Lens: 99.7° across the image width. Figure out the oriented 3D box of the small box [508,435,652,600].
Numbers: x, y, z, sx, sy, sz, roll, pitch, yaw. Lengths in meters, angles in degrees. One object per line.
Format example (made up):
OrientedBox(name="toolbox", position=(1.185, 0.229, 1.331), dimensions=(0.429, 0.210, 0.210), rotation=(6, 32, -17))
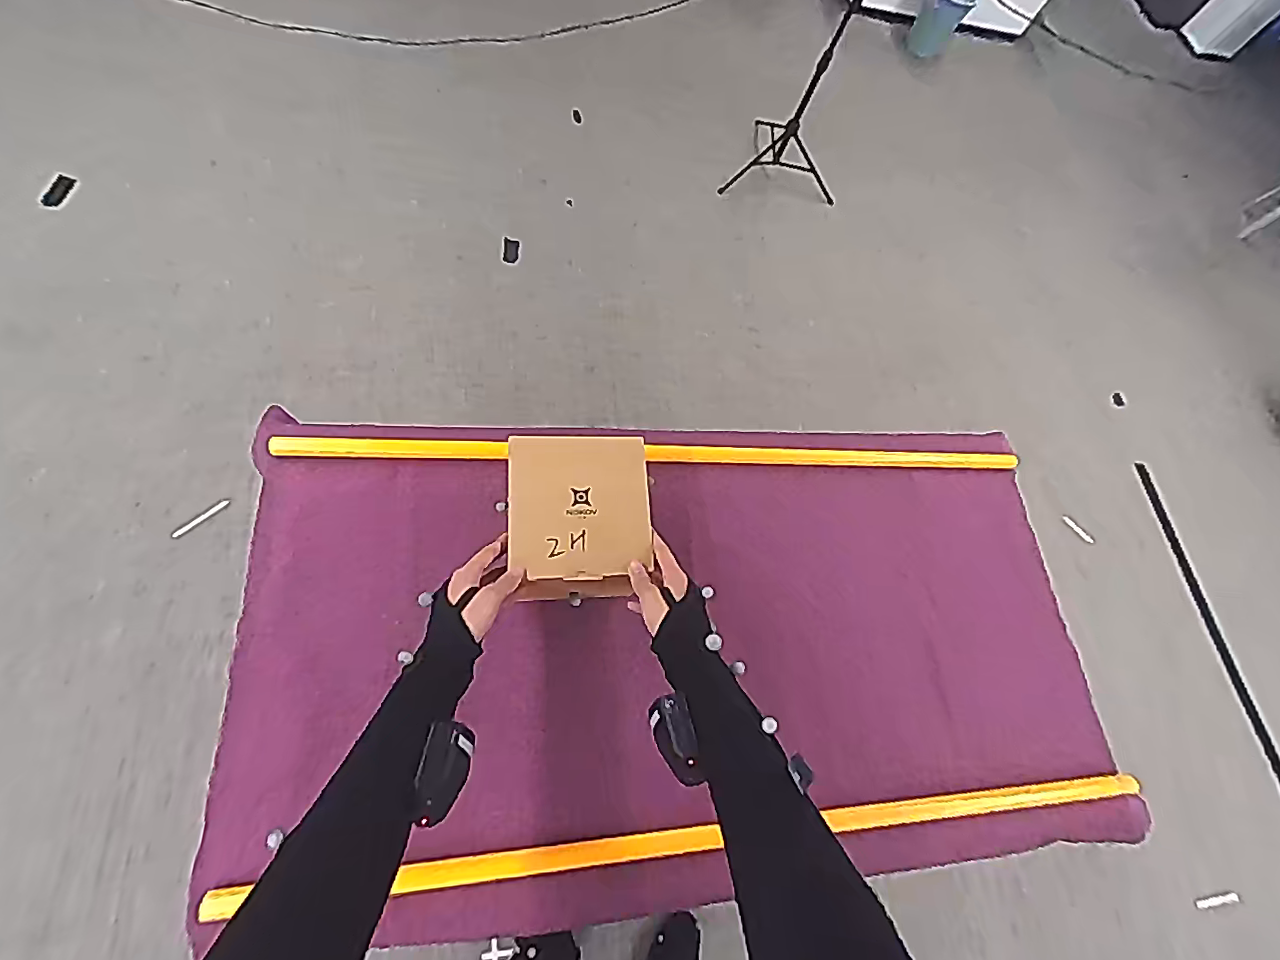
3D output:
OrientedBox(name="small box", position=(-0.085, 0.055, 0.707), dimensions=(0.168, 0.176, 0.179), rotation=(0, 71, -11))
